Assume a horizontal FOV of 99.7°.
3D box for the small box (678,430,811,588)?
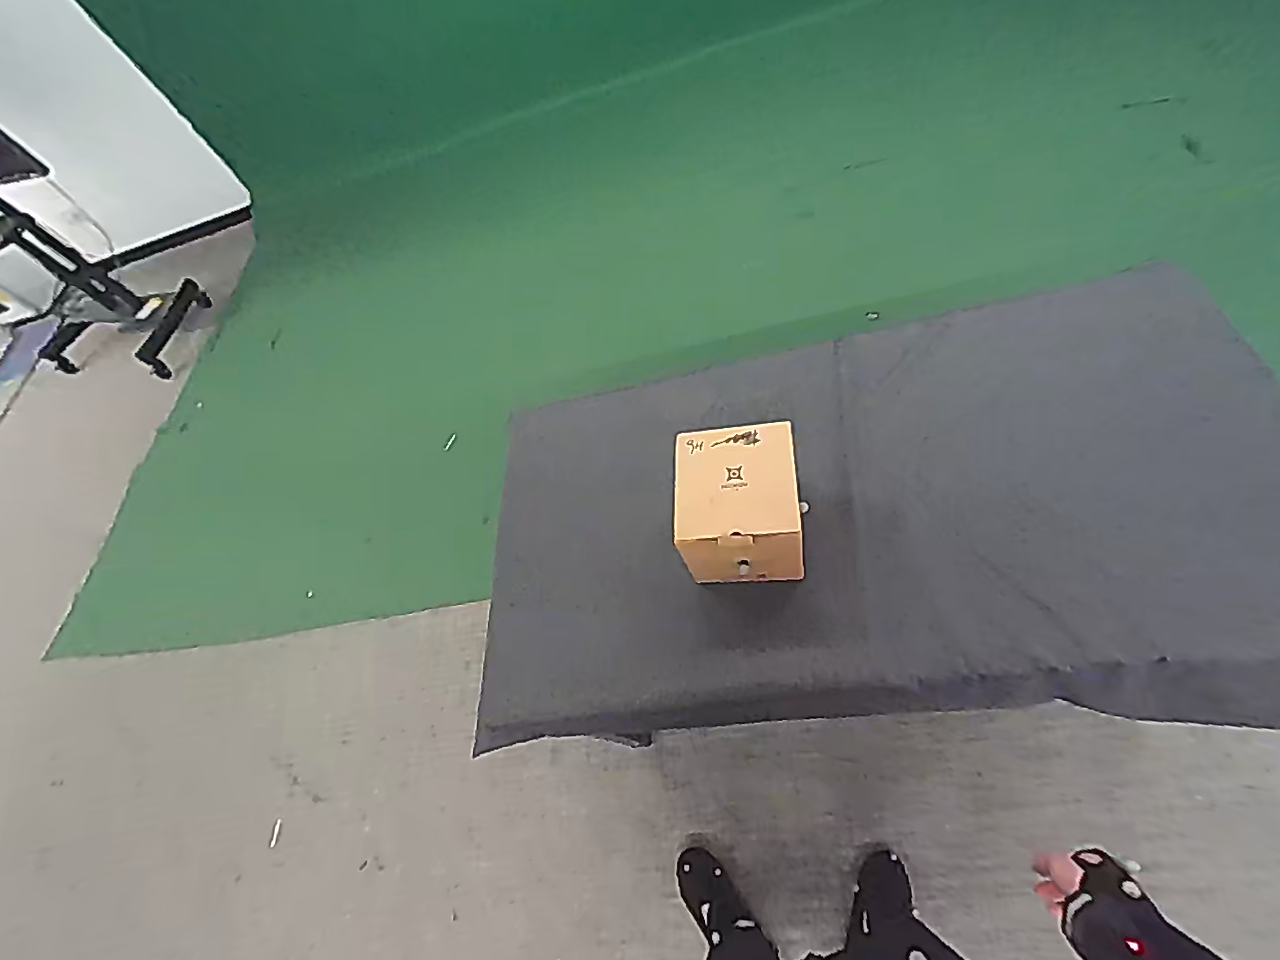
[{"bbox_3d":[0.157,0.054,0.808,0.168,0.176,0.179,-9,57,15],"label":"small box"}]
